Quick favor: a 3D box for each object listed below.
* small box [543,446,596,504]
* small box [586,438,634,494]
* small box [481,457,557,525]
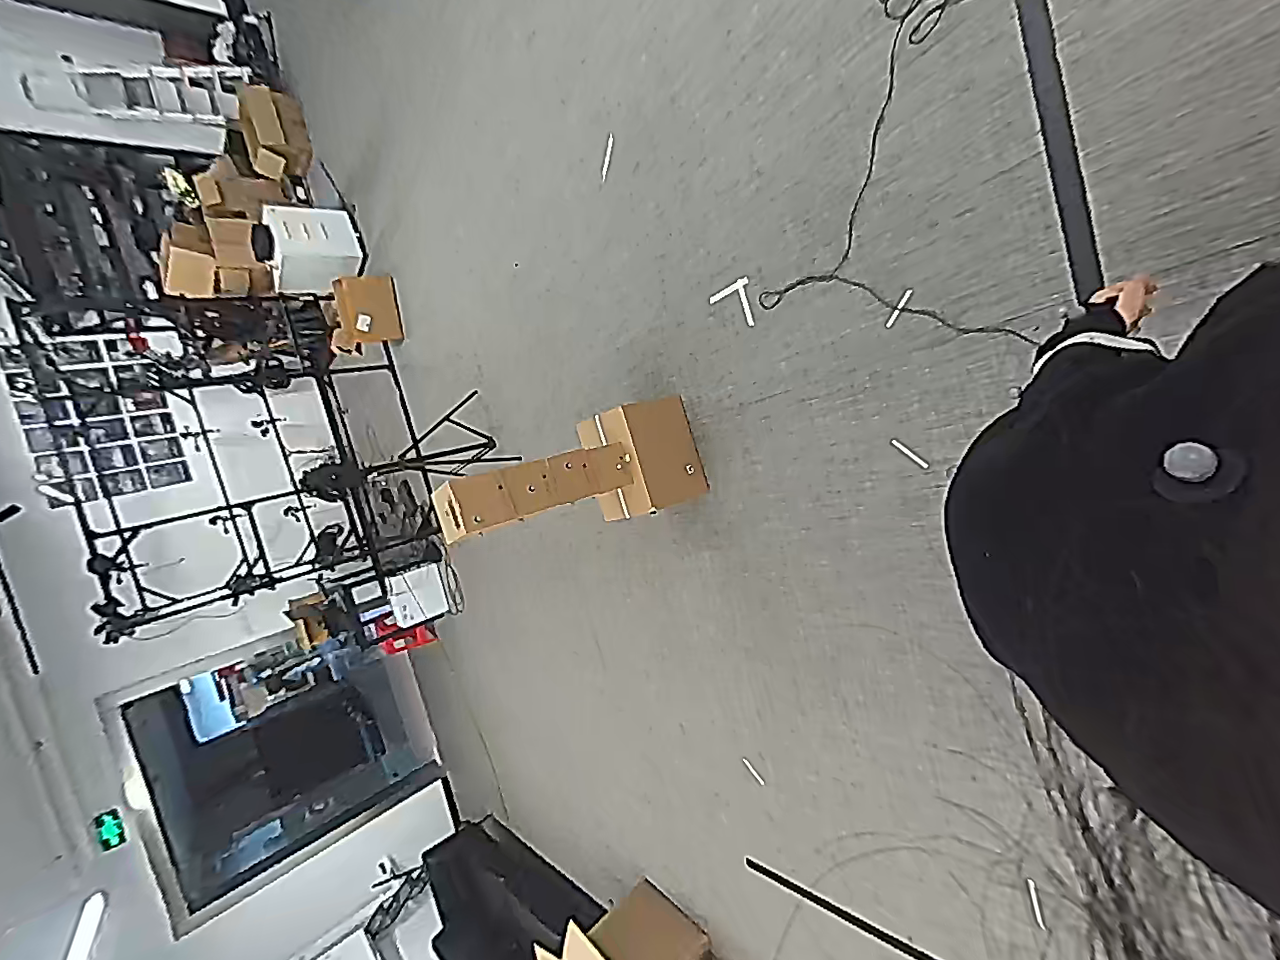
[{"bbox_3d":[-0.268,-0.010,1.874,0.179,0.176,0.168,-18,89,51],"label":"small box"},{"bbox_3d":[-0.152,-0.044,1.981,0.179,0.176,0.168,-16,92,50],"label":"small box"},{"bbox_3d":[-0.390,0.034,1.772,0.179,0.176,0.168,-24,84,50],"label":"small box"}]
